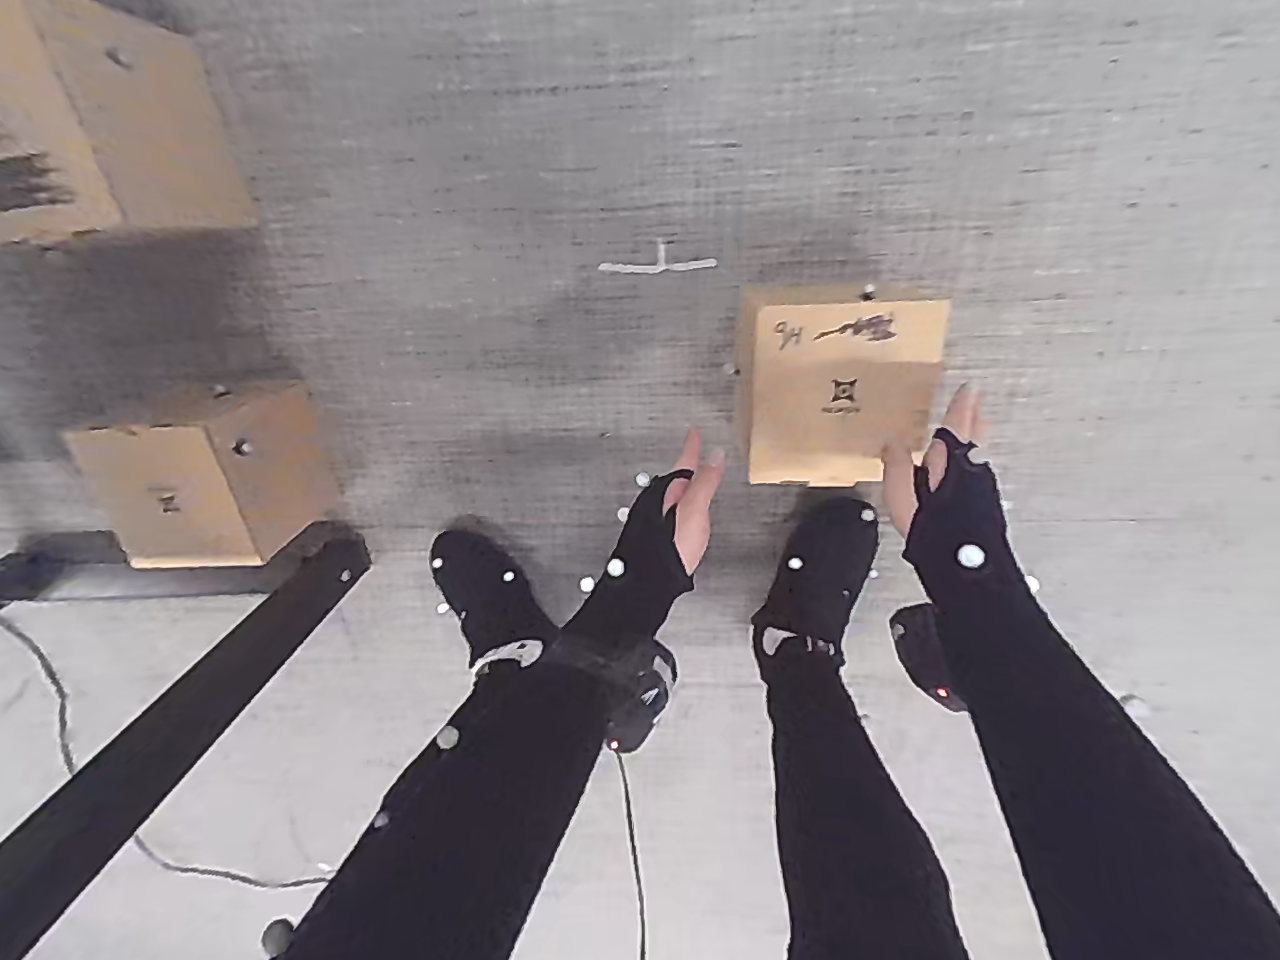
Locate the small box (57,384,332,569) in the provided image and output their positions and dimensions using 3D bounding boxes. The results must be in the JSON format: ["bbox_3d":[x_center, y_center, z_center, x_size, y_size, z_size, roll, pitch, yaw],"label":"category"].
[{"bbox_3d":[-0.520,-0.010,0.666,0.168,0.176,0.179,-2,114,5],"label":"small box"}]
